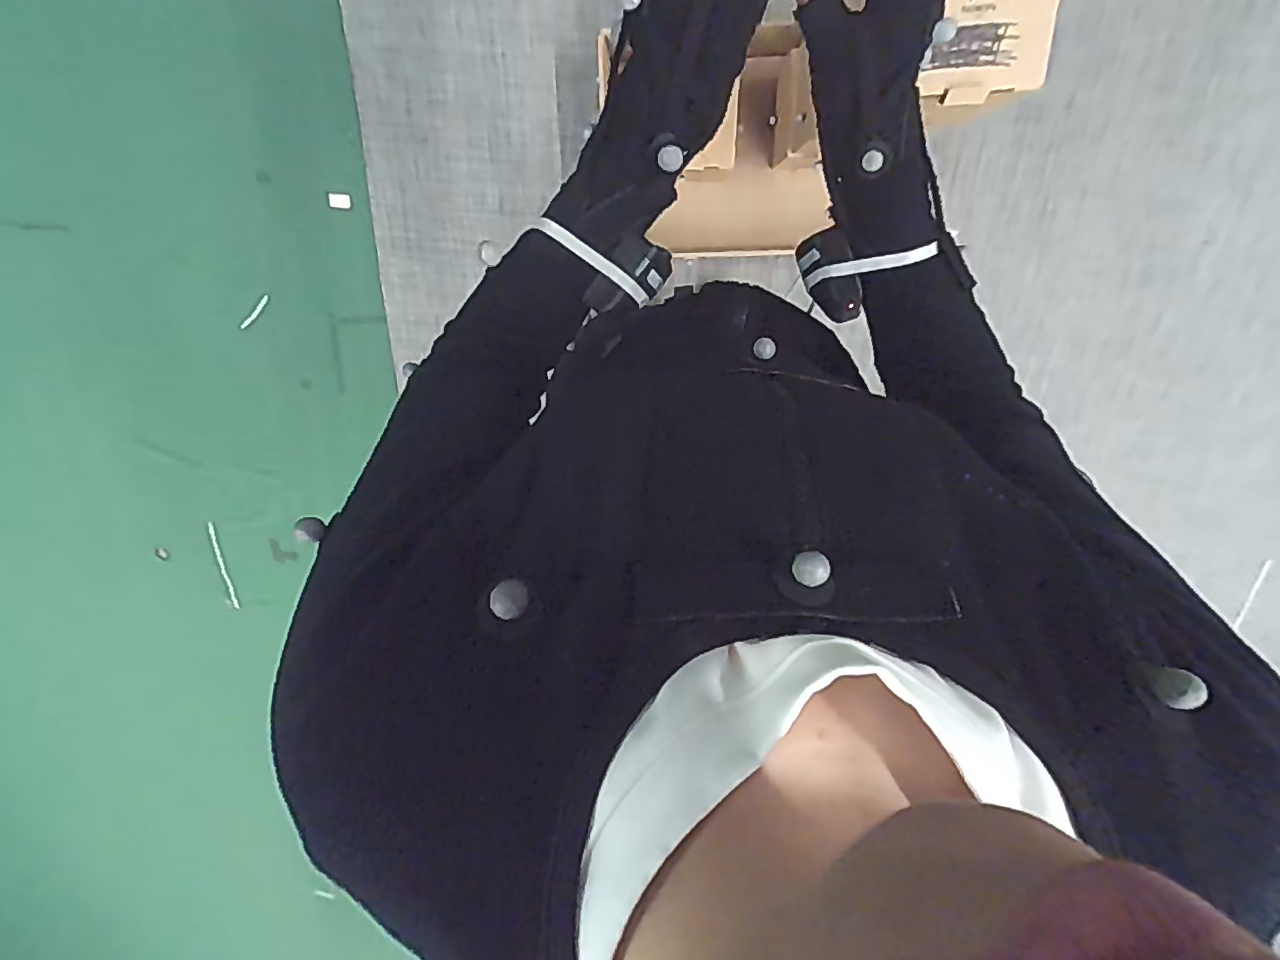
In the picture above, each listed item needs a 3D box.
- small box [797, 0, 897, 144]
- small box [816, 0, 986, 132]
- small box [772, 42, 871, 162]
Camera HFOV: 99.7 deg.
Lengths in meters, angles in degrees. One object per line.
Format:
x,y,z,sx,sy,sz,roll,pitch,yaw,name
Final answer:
0.370,-0.679,0.912,0.168,0.176,0.179,0,113,3,small box
0.363,-0.615,0.780,0.168,0.176,0.179,0,113,1,small box
0.362,-0.749,1.080,0.168,0.176,0.179,-4,112,5,small box
